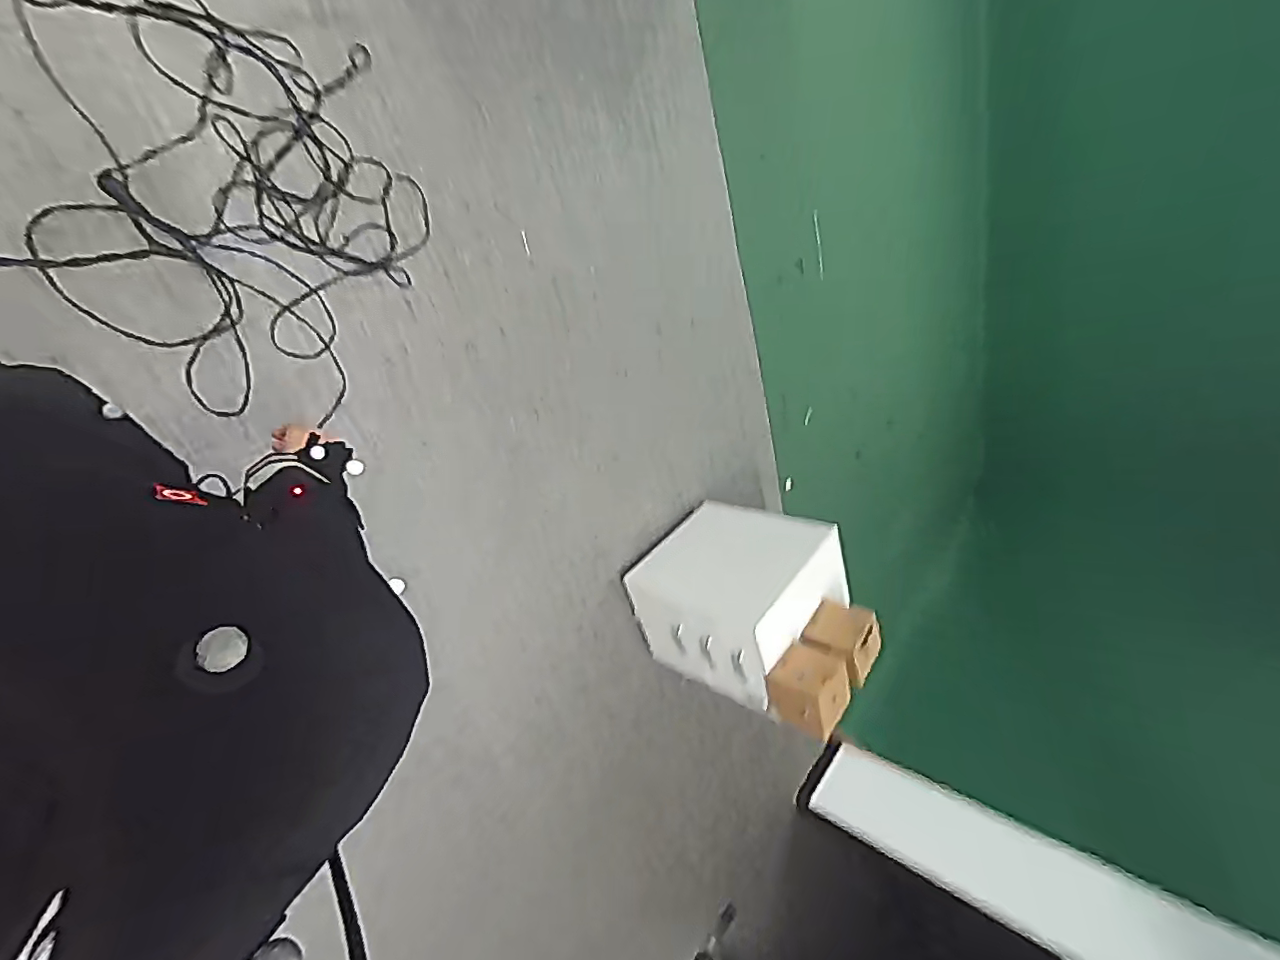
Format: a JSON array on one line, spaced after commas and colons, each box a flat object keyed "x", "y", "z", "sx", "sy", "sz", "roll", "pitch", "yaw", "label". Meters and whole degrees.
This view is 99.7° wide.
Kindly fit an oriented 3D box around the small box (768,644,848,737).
[{"x": 0.498, "y": 0.615, "z": 1.611, "sx": 0.168, "sy": 0.176, "sz": 0.179, "roll": -35, "pitch": 120, "yaw": -35, "label": "small box"}]
